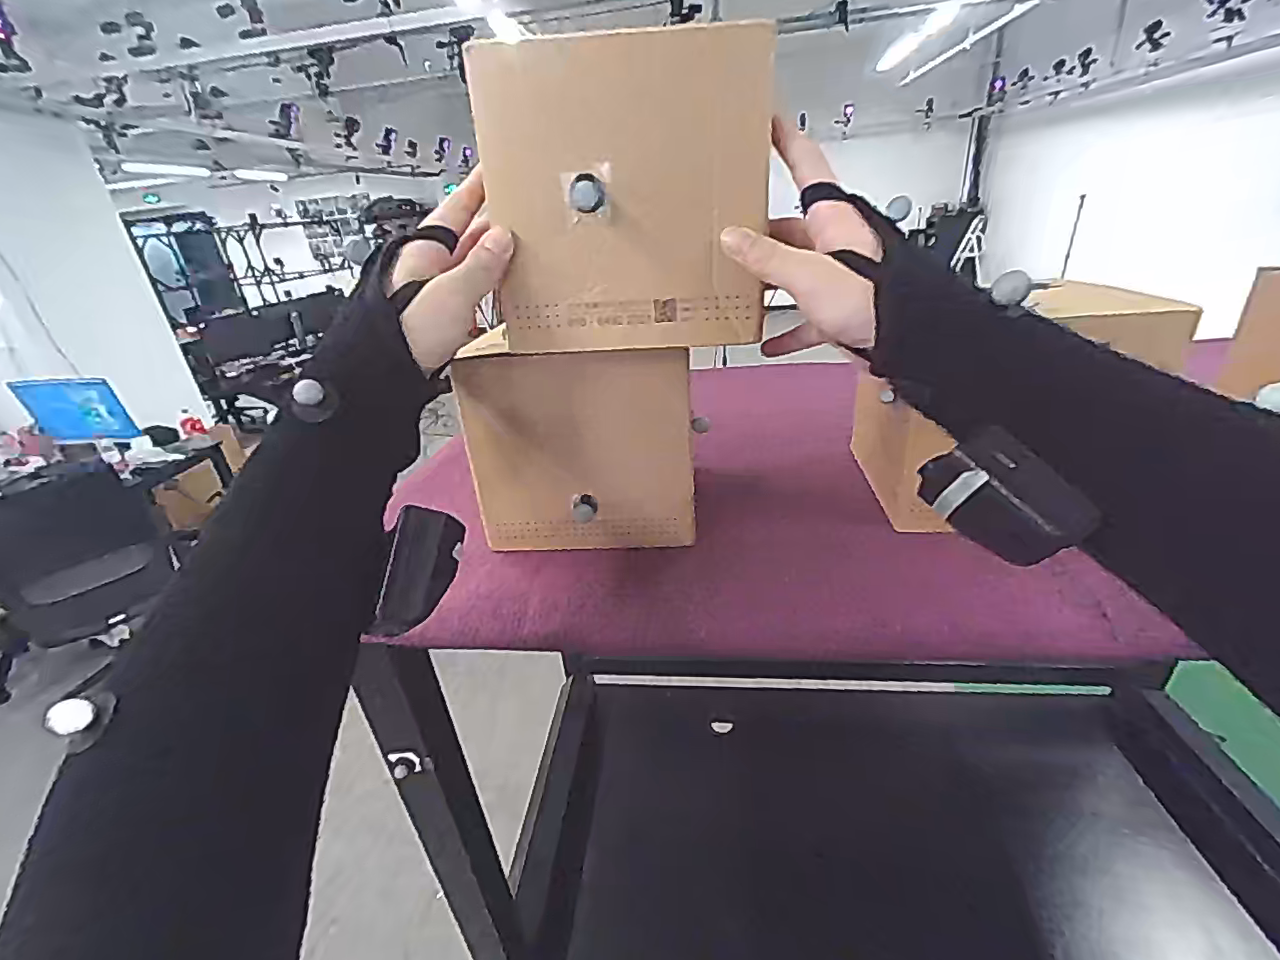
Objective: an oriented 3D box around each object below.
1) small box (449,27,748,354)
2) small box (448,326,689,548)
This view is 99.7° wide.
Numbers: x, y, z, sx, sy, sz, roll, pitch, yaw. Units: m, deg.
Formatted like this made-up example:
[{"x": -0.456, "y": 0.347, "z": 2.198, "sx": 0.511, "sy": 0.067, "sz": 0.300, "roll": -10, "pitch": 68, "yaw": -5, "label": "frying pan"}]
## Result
[{"x": -0.013, "y": -0.189, "z": 0.395, "sx": 0.168, "sy": 0.176, "sz": 0.179, "roll": -3, "pitch": 25, "yaw": 4, "label": "small box"}, {"x": -0.043, "y": -0.049, "z": 0.489, "sx": 0.179, "sy": 0.176, "sz": 0.168, "roll": -2, "pitch": 25, "yaw": 5, "label": "small box"}]
